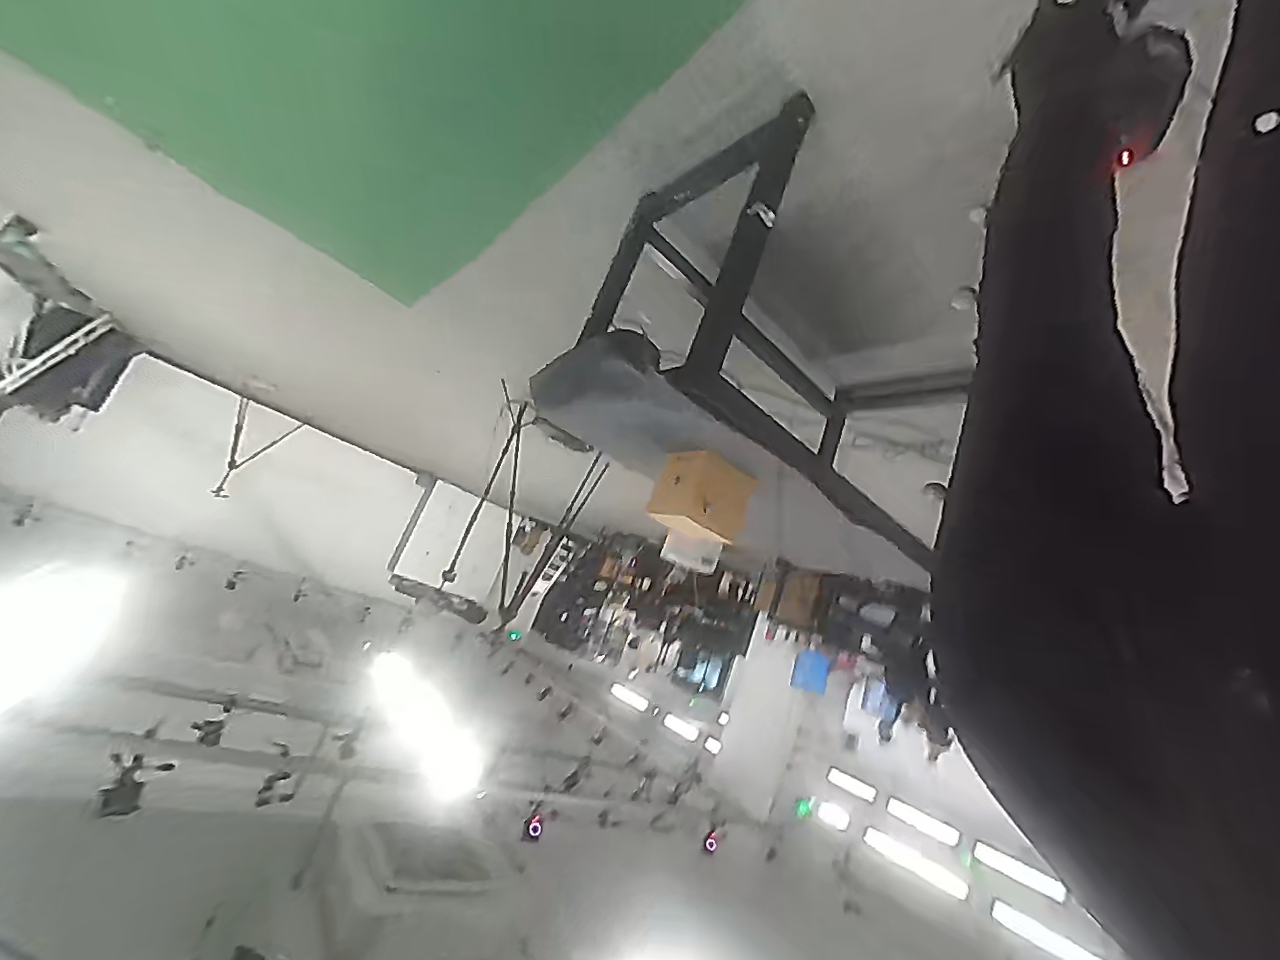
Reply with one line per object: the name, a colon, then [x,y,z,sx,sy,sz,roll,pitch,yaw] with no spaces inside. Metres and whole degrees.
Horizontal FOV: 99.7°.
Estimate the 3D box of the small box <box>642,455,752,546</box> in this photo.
small box: [0.141,0.046,1.319,0.179,0.176,0.168,30,164,-32]
